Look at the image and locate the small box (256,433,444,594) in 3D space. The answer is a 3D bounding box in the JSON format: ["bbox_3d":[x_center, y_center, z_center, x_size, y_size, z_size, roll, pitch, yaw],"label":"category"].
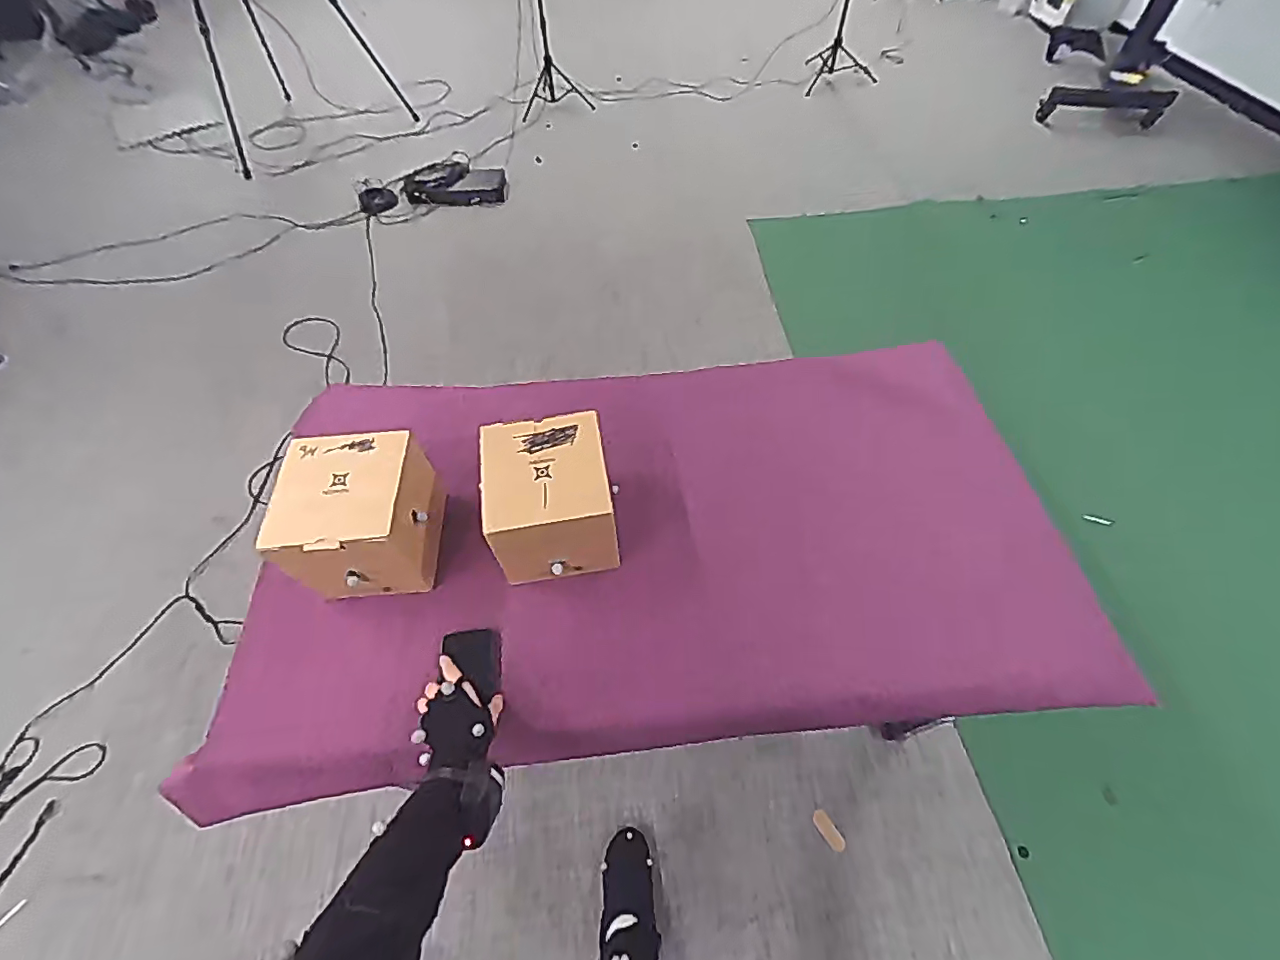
[{"bbox_3d":[-0.396,0.056,0.778,0.168,0.176,0.179,-5,56,-1],"label":"small box"}]

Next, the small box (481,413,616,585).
[{"bbox_3d":[-0.129,0.030,0.788,0.168,0.176,0.179,-9,56,-4],"label":"small box"}]
